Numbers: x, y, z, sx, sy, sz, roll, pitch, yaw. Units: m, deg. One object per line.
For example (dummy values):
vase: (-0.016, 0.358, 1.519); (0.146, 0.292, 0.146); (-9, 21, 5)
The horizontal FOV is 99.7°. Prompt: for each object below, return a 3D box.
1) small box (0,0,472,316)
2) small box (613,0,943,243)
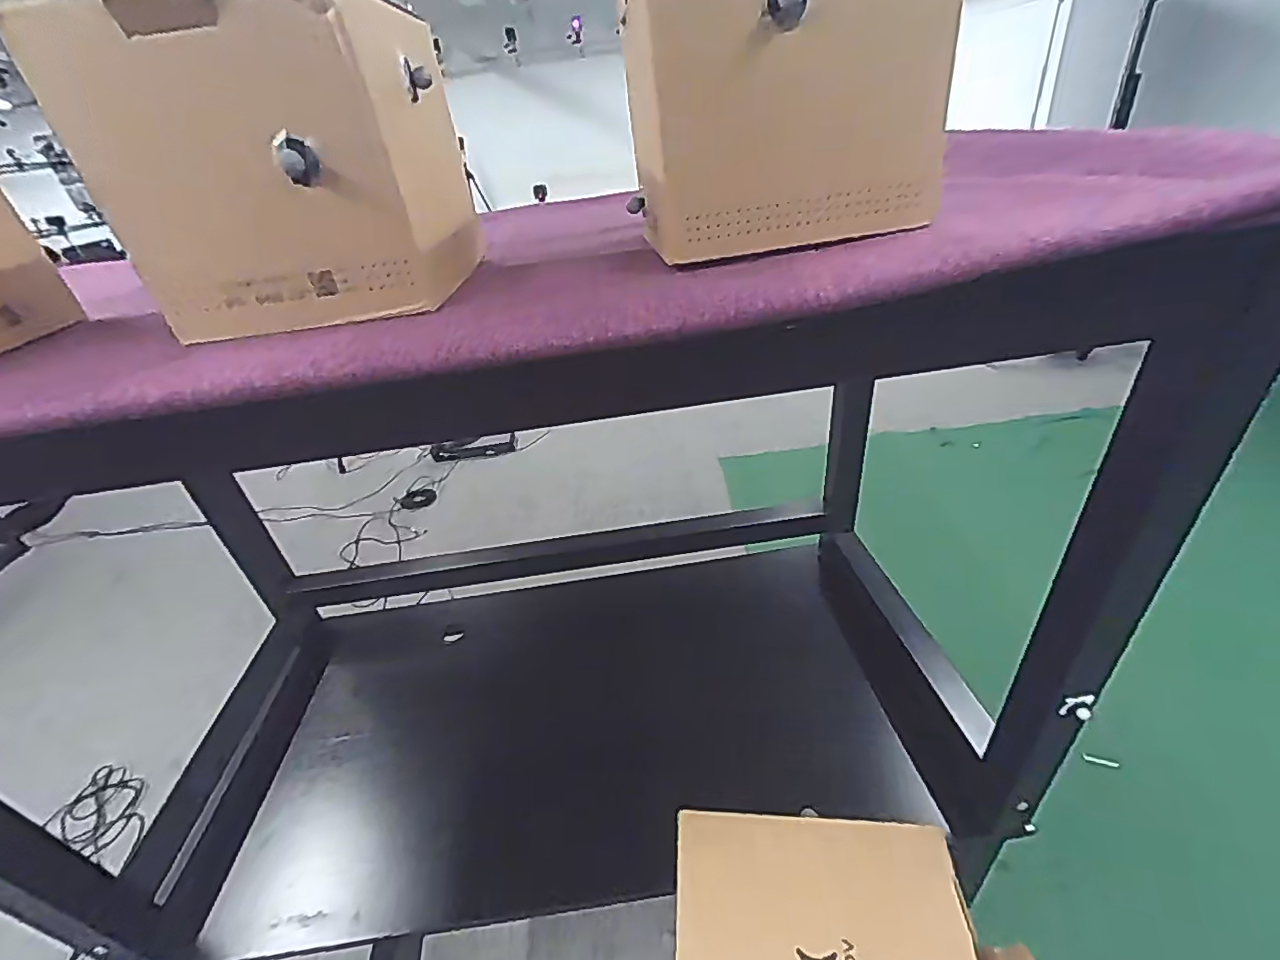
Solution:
small box: (-0.224, -0.214, 0.357); (0.168, 0.176, 0.179); (-7, 33, 0)
small box: (0.083, -0.268, 0.368); (0.179, 0.176, 0.168); (-9, 31, -1)
